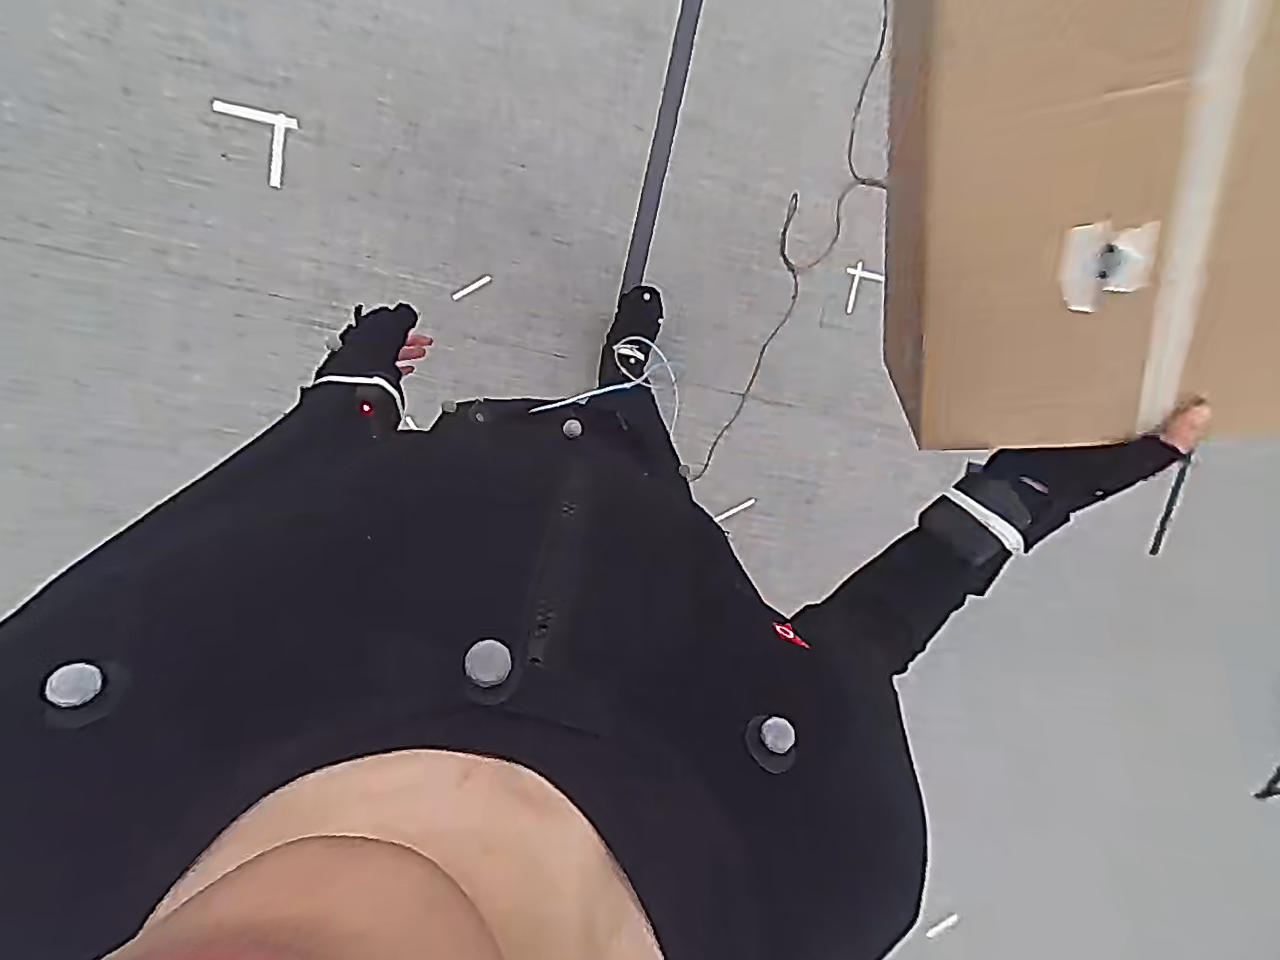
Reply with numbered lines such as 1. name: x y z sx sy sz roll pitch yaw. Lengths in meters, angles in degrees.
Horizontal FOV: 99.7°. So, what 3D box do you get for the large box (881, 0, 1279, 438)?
1. large box: 0.397 -0.285 0.466 0.320 0.320 0.408 0 119 18
